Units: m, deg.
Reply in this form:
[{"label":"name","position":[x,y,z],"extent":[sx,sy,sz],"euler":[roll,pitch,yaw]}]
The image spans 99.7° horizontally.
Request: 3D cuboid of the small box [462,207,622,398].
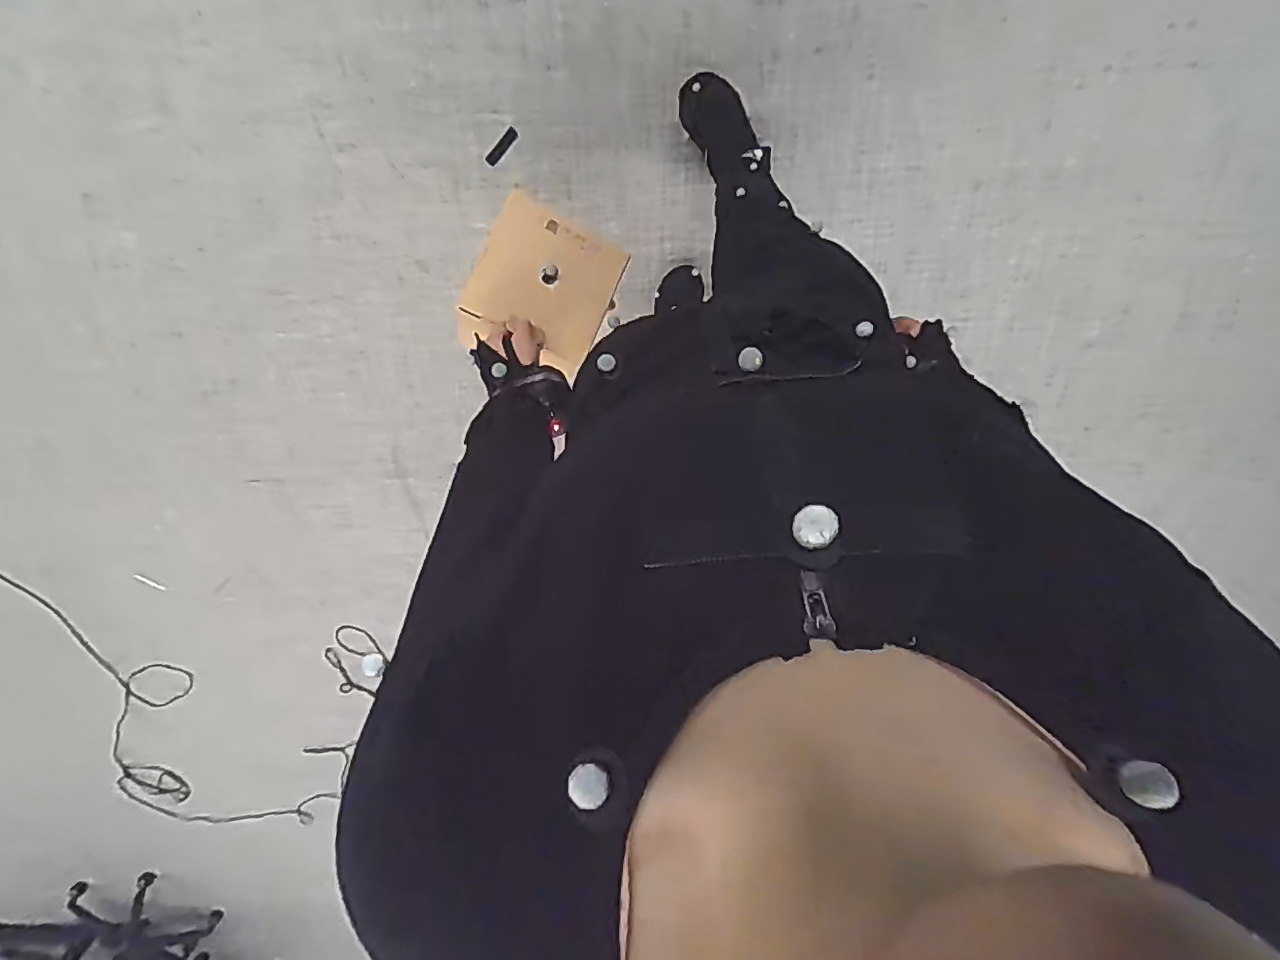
[{"label":"small box","position":[-0.139,-0.240,0.761],"extent":[0.168,0.179,0.176],"euler":[23,80,-15]}]
